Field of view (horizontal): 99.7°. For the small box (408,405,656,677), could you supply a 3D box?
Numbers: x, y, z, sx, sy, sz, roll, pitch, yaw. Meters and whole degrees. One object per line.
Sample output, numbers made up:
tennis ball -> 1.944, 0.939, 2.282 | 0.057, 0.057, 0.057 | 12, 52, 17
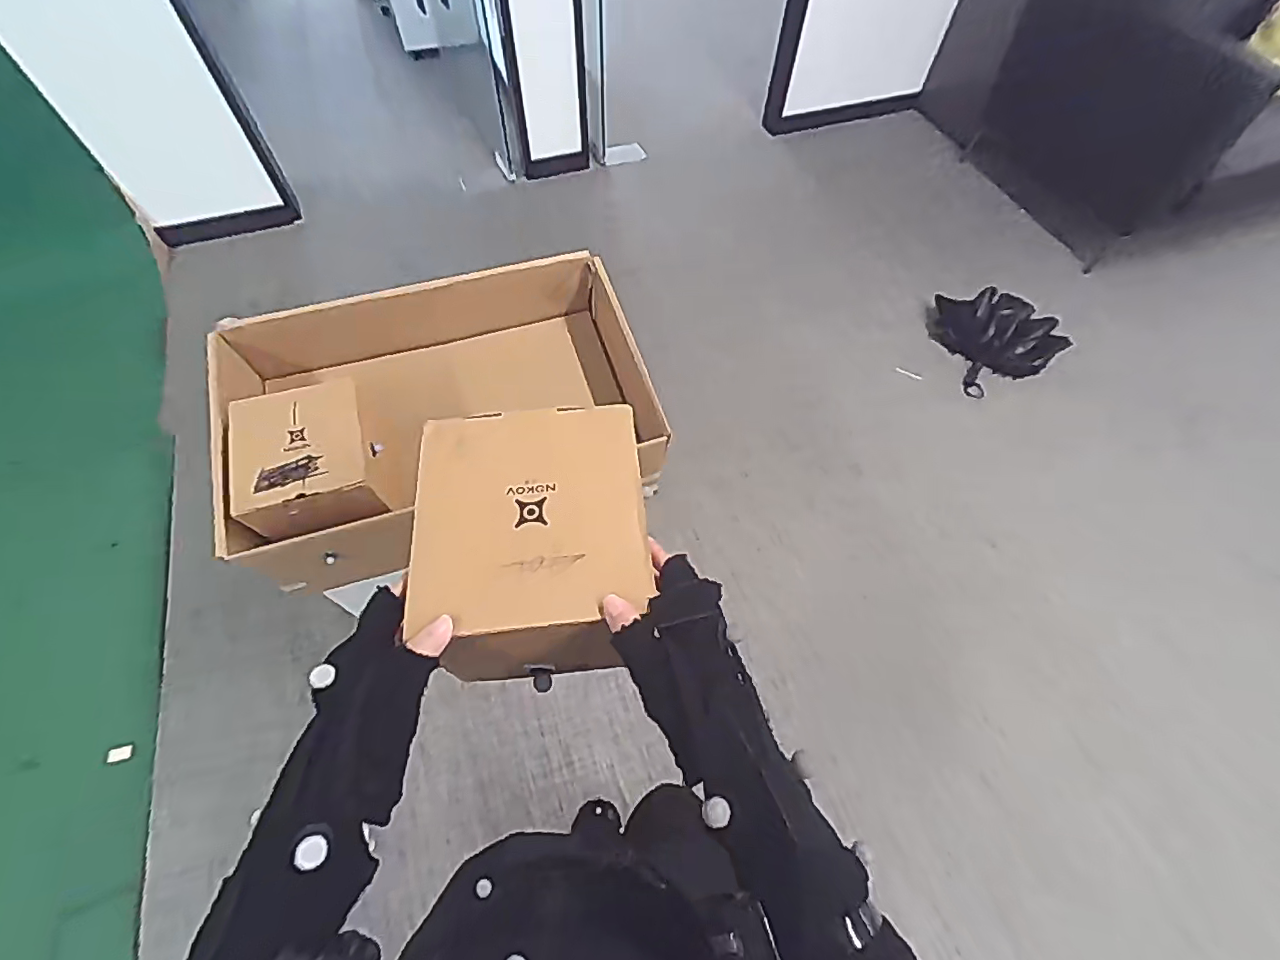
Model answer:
small box -> -0.081, 0.058, 0.467 | 0.168, 0.176, 0.179 | -5, 61, -4
